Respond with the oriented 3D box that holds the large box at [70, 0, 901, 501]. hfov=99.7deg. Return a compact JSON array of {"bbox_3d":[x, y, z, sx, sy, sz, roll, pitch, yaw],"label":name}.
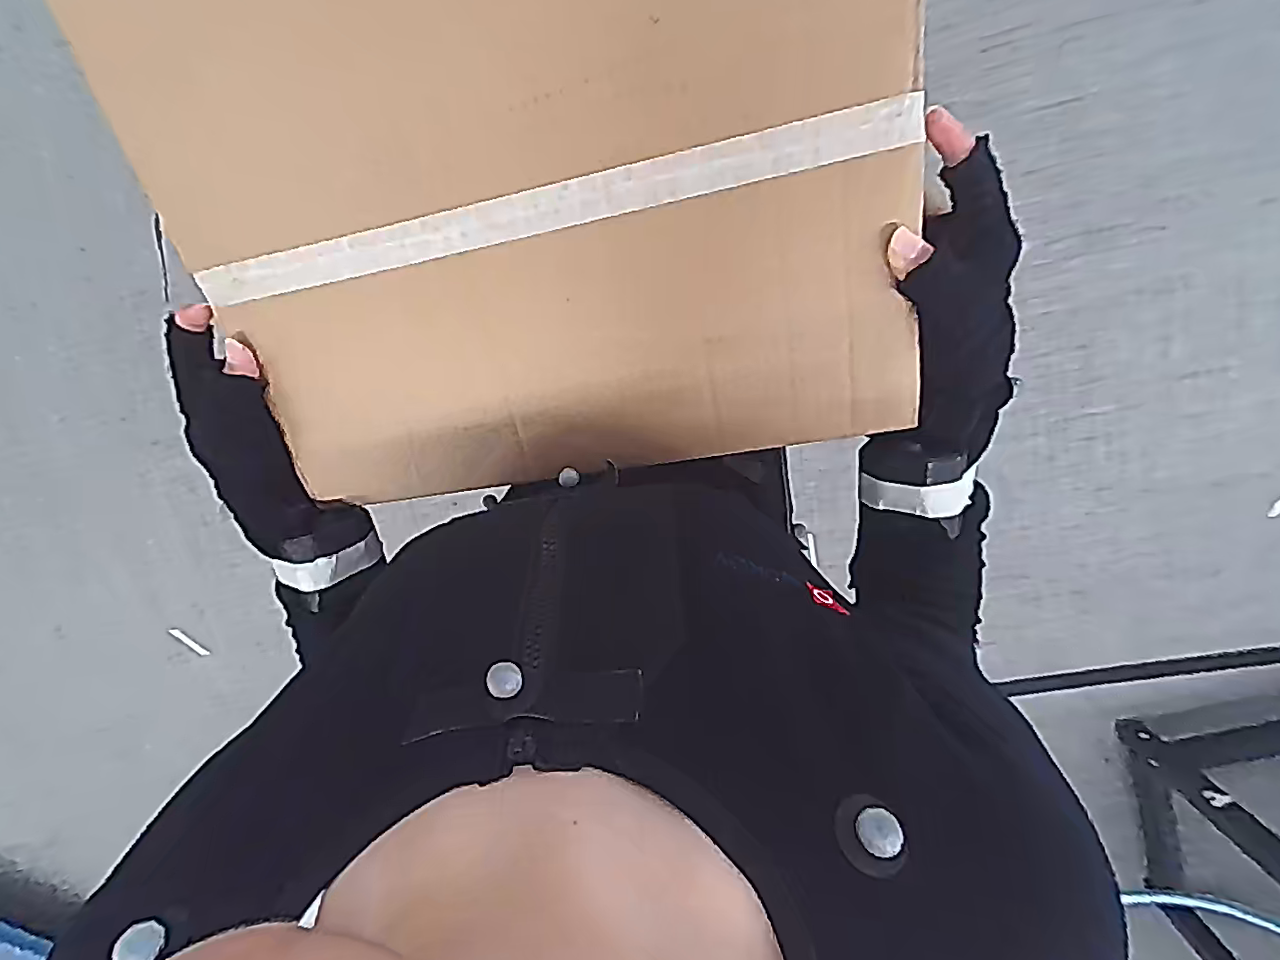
[{"bbox_3d":[-0.050,-0.215,0.430,0.408,0.320,0.320,-8,115,11],"label":"large box"}]
